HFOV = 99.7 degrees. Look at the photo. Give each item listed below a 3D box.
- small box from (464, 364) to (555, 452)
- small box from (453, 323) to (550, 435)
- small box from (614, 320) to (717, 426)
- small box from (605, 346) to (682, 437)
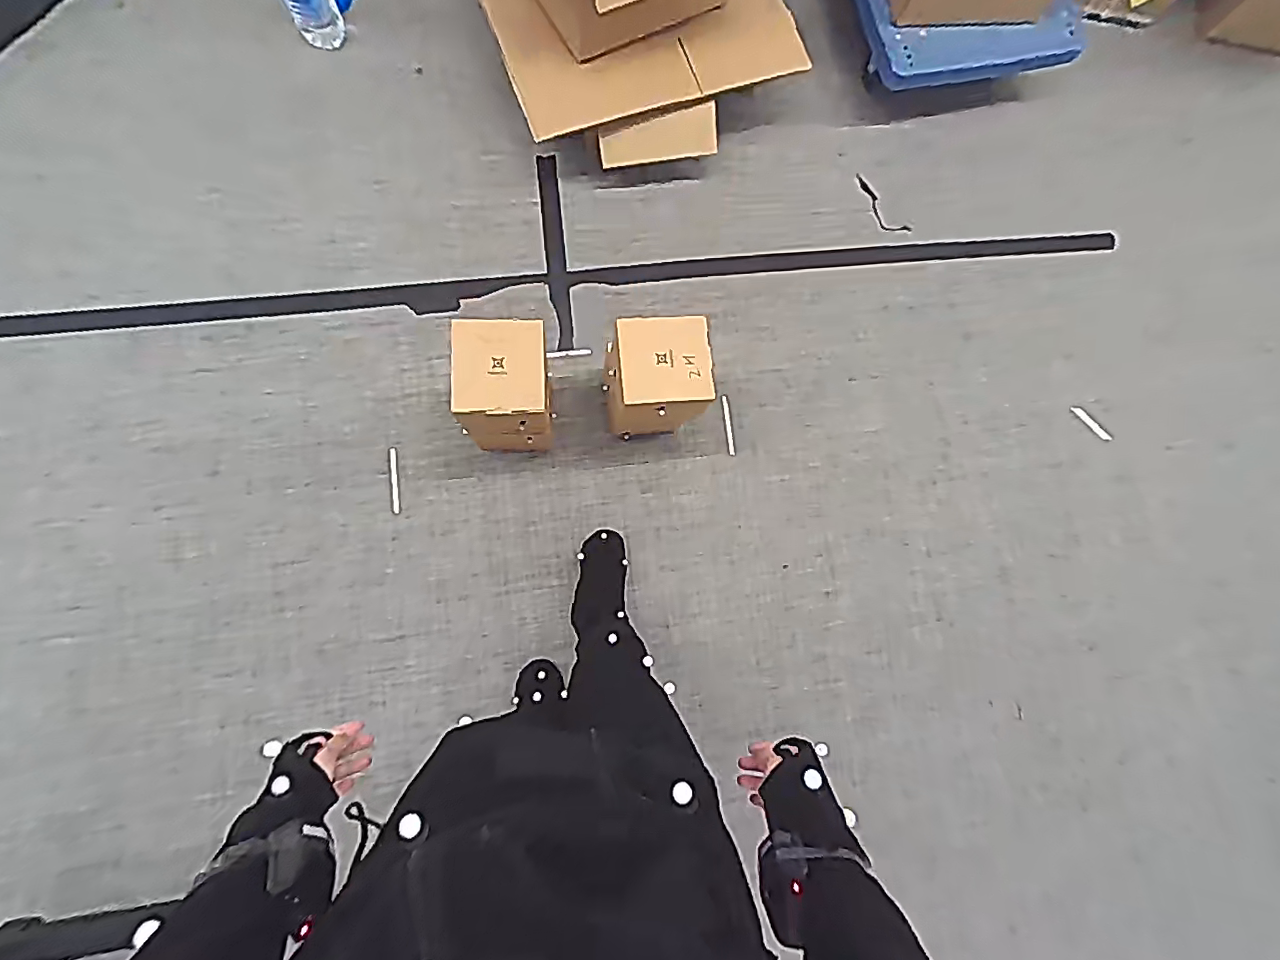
[{"bbox_3d":[-0.283,-0.156,1.204,0.179,0.176,0.168,-1,82,-7],"label":"small box"},{"bbox_3d":[-0.260,-0.186,1.046,0.168,0.176,0.179,-2,81,-9],"label":"small box"},{"bbox_3d":[0.041,-0.207,1.082,0.179,0.176,0.168,-5,84,-8],"label":"small box"},{"bbox_3d":[0.014,-0.202,1.246,0.168,0.176,0.179,-7,83,-8],"label":"small box"}]
